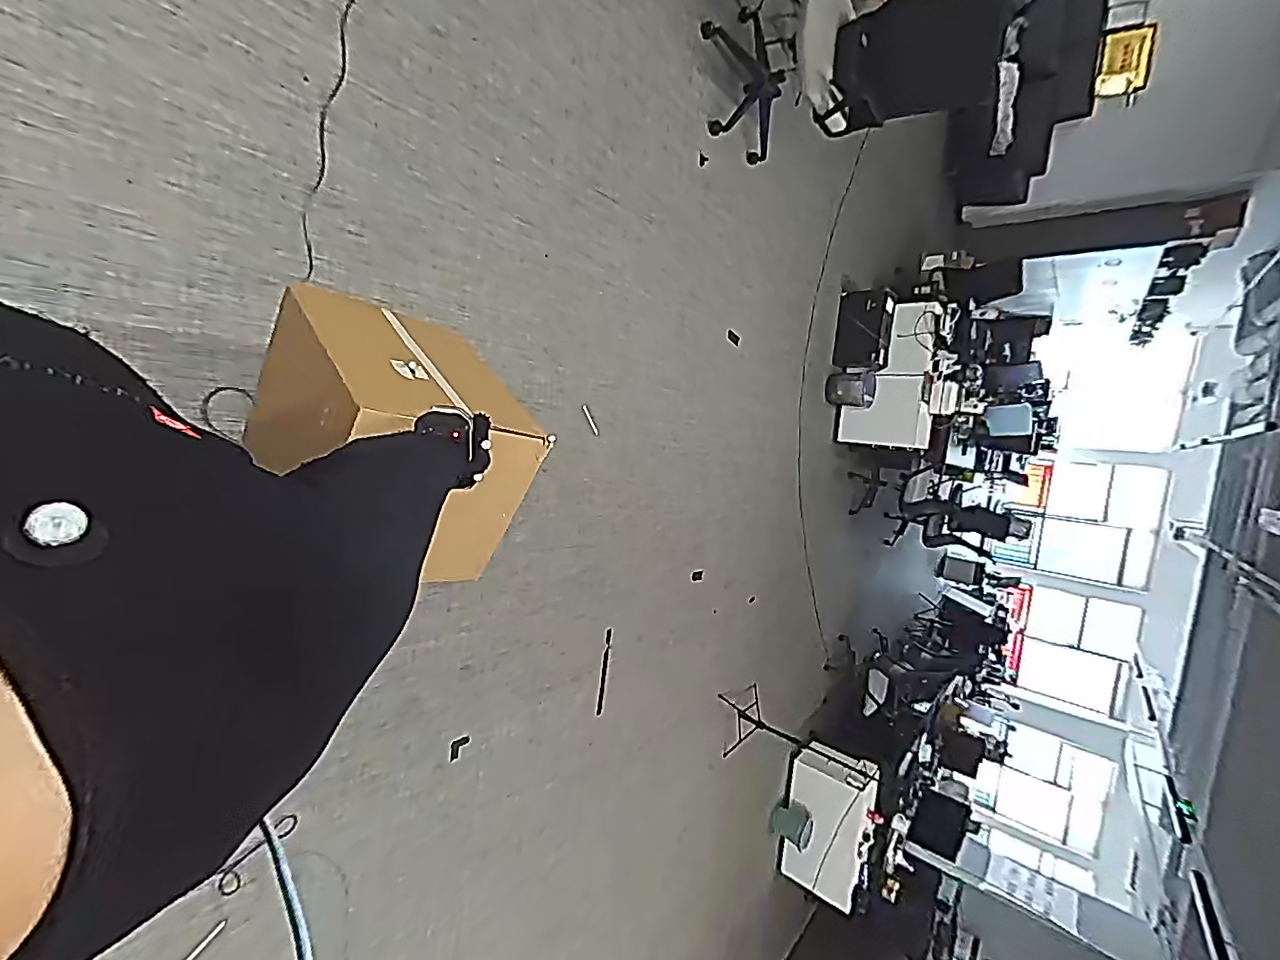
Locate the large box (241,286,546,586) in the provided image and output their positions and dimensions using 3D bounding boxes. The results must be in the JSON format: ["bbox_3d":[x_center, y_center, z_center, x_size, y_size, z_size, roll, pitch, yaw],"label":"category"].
[{"bbox_3d":[-0.446,-0.070,0.953,0.320,0.408,0.320,7,123,-50],"label":"large box"}]
